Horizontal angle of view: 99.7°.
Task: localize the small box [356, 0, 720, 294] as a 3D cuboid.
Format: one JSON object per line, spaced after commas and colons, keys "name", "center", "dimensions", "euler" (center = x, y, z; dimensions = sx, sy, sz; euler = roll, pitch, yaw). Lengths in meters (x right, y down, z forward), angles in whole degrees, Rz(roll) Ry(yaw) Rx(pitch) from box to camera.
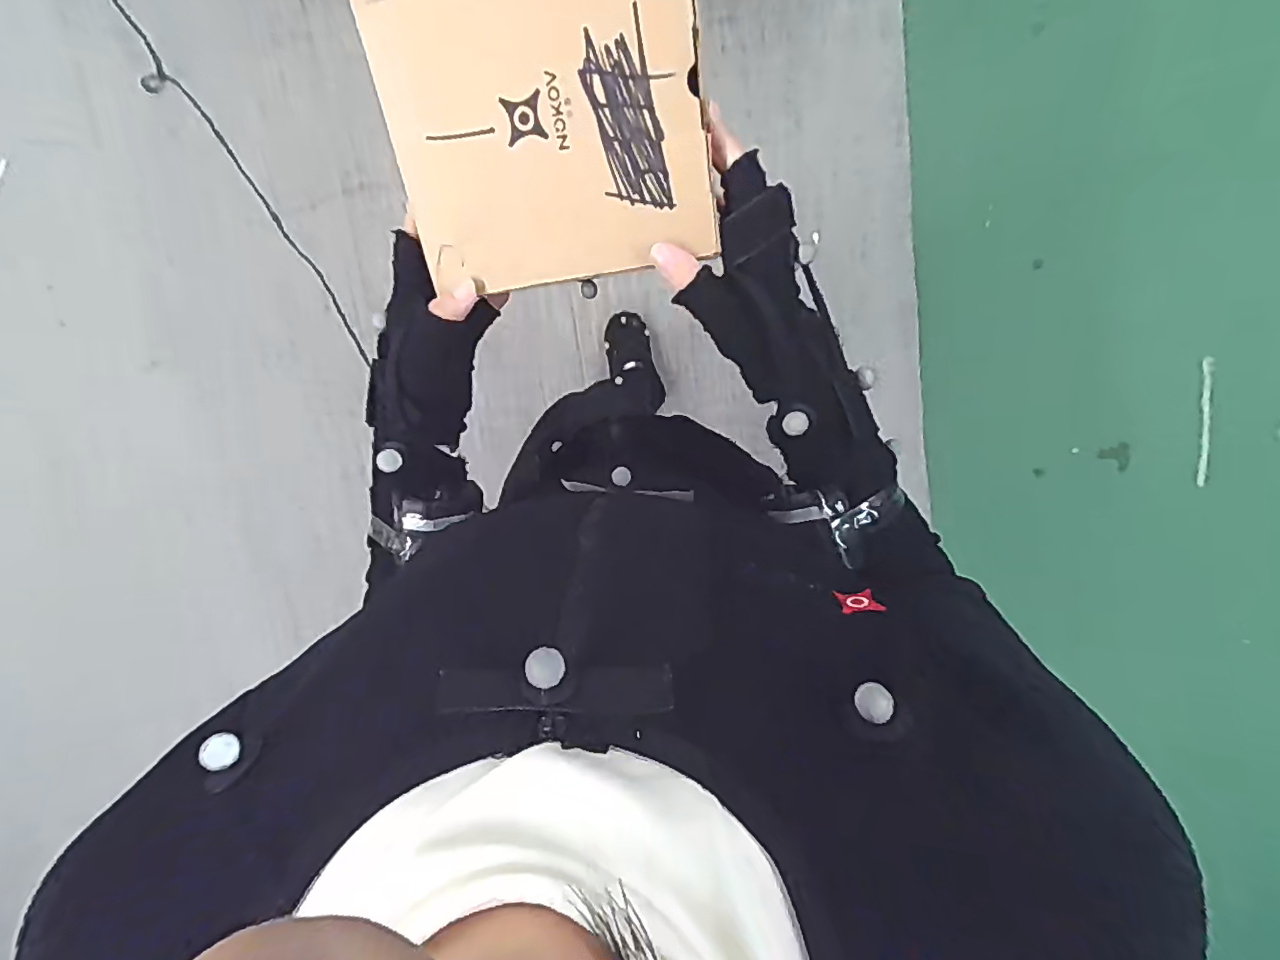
{"name": "small box", "center": [-0.041, -0.230, 0.361], "dimensions": [0.179, 0.176, 0.168], "euler": [-5, 114, 12]}
